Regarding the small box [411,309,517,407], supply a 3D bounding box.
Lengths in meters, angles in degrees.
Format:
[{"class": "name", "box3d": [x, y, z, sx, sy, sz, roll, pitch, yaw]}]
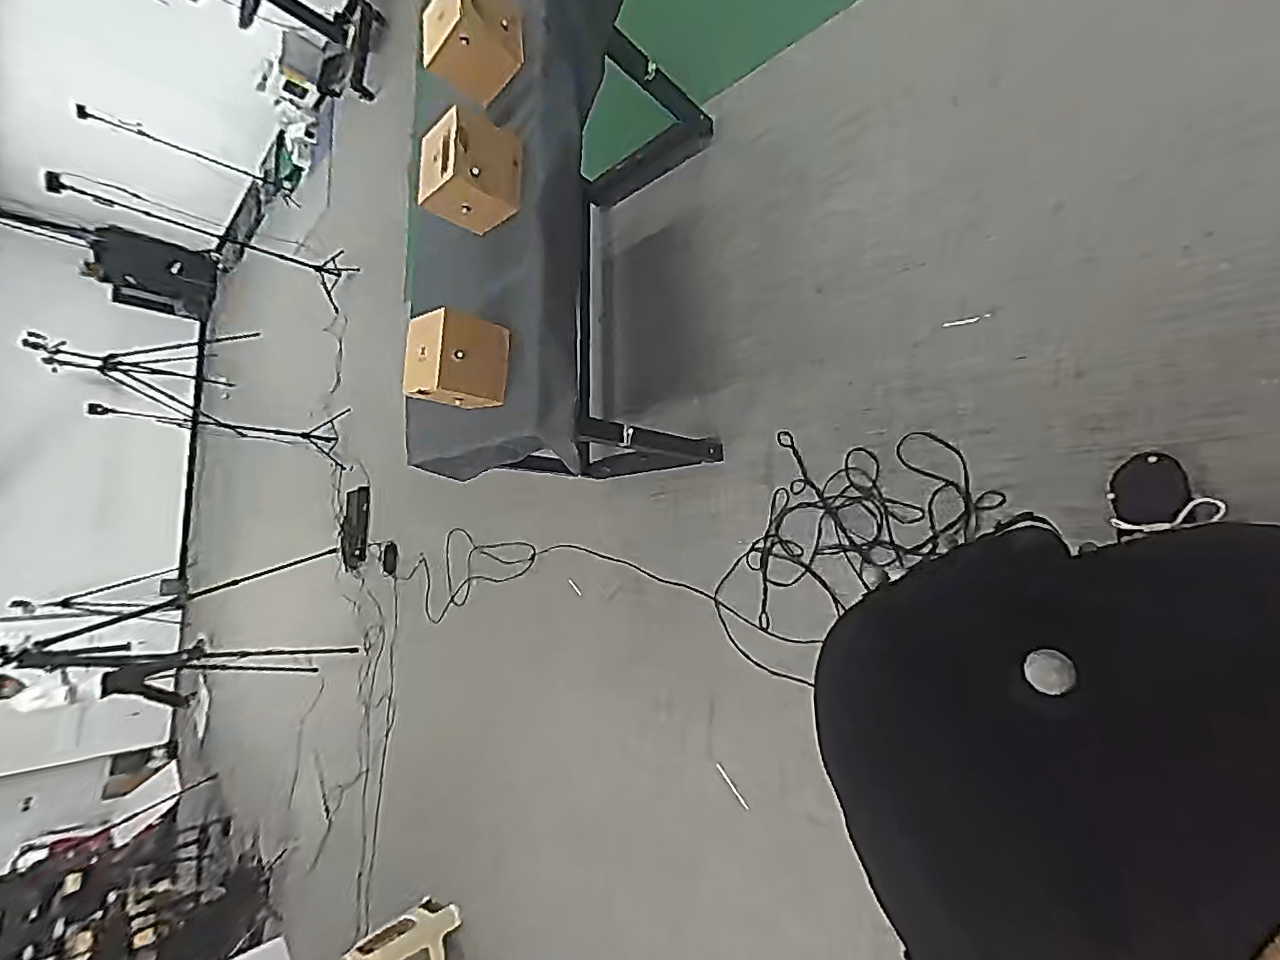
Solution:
[{"class": "small box", "box3d": [-0.399, -0.266, 1.234, 0.168, 0.176, 0.179, 2, 85, 42]}]

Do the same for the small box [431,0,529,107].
[{"class": "small box", "box3d": [-0.388, -1.065, 1.314, 0.179, 0.176, 0.168, -14, 76, 41]}]
